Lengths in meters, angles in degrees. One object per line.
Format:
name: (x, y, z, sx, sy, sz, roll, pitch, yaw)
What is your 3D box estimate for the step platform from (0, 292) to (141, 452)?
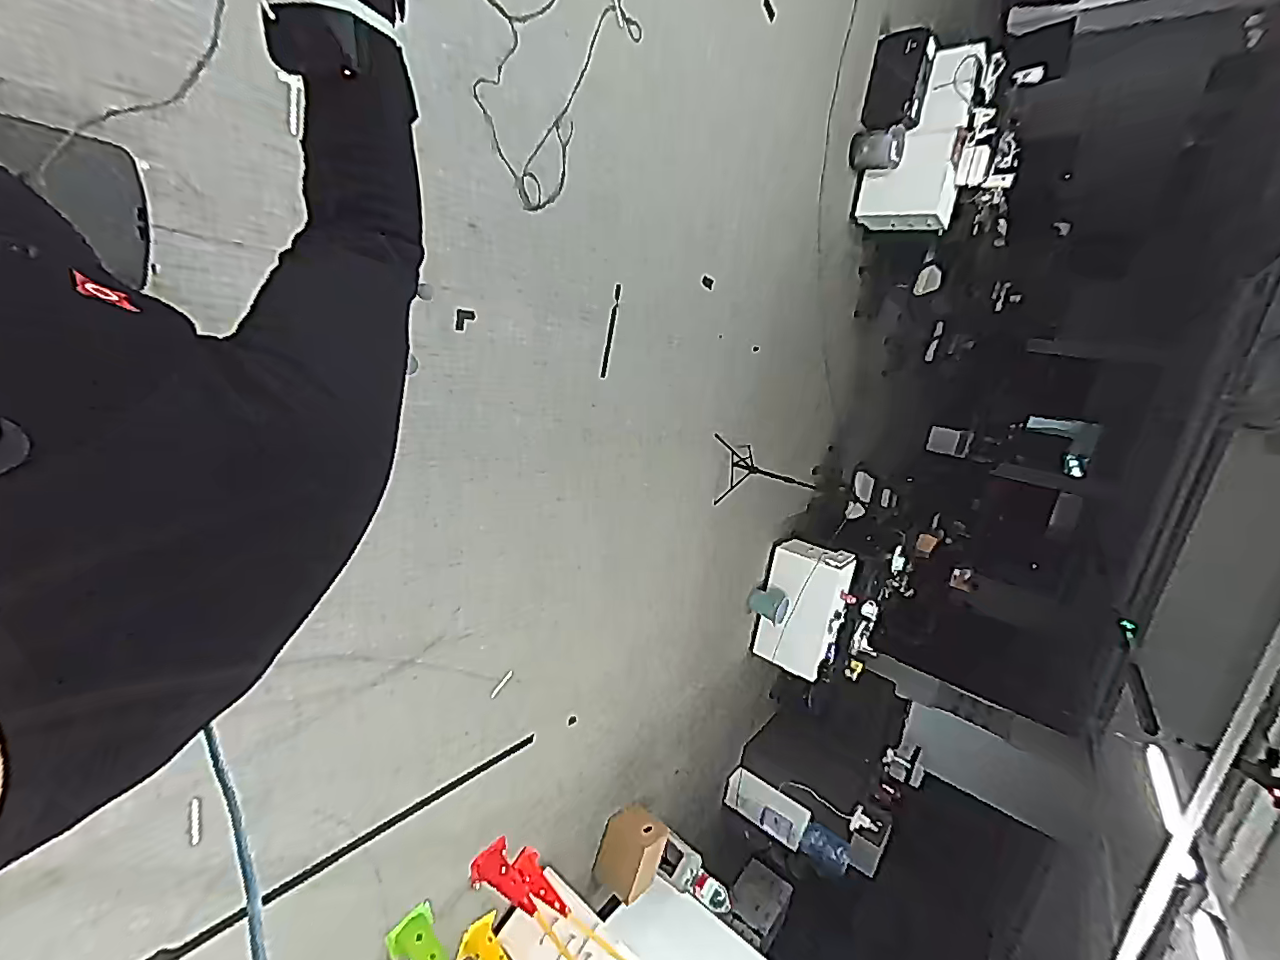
step platform: (-1.265, -0.186, 0.868, 0.684, 0.204, 0.286, -10, 113, -50)
